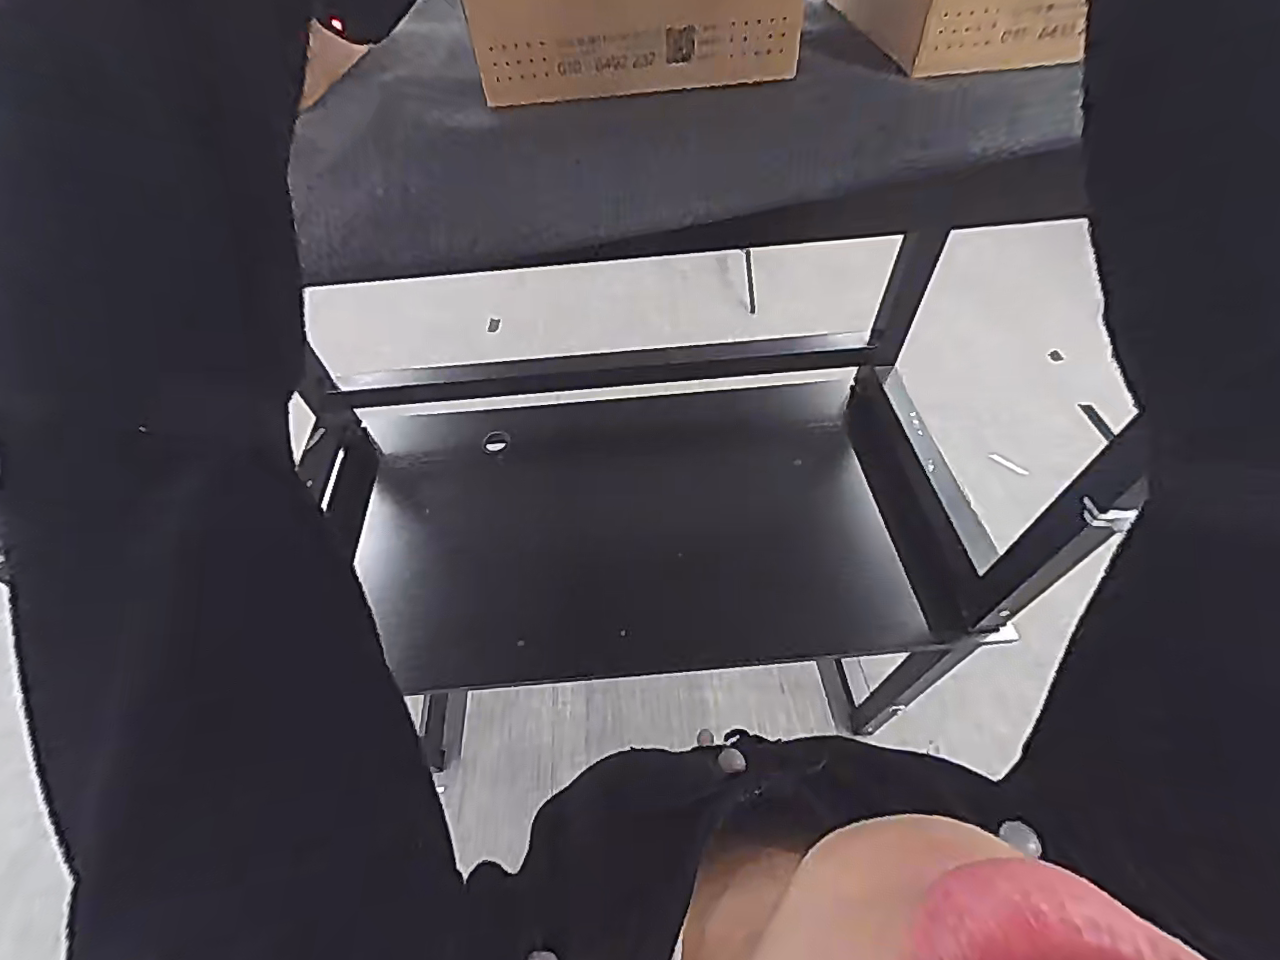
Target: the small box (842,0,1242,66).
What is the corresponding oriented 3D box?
[{"bbox_3d":[0.212,-0.335,0.270,0.168,0.176,0.179,-5,52,2],"label":"small box"}]
